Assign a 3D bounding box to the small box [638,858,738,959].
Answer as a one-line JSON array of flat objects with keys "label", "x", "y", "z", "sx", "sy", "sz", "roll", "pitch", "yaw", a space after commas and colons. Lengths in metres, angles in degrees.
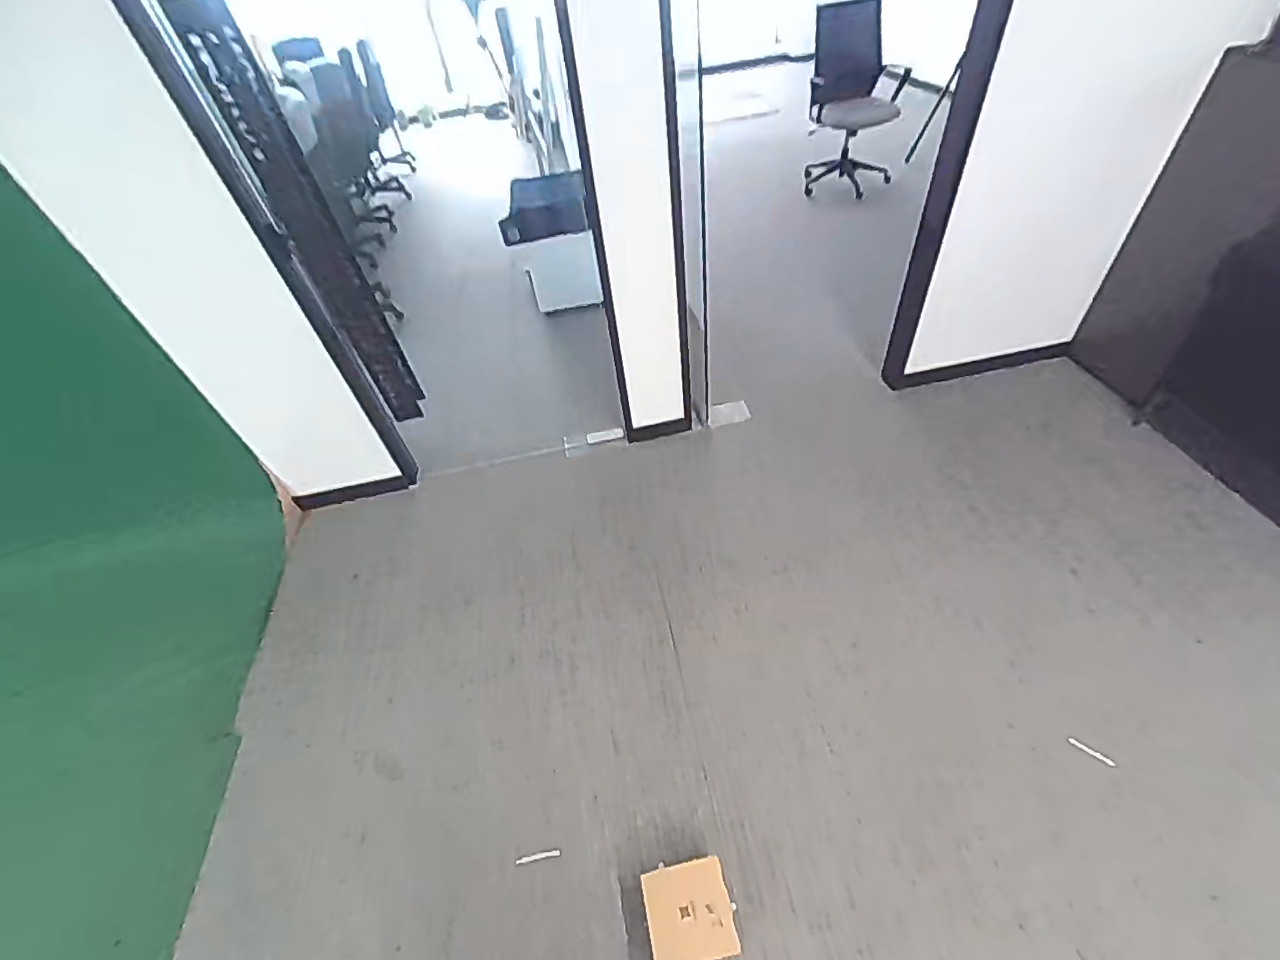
[{"label": "small box", "x": 0.103, "y": 0.938, "z": 1.152, "sx": 0.179, "sy": 0.176, "sz": 0.168, "roll": -11, "pitch": 46, "yaw": -3}]
